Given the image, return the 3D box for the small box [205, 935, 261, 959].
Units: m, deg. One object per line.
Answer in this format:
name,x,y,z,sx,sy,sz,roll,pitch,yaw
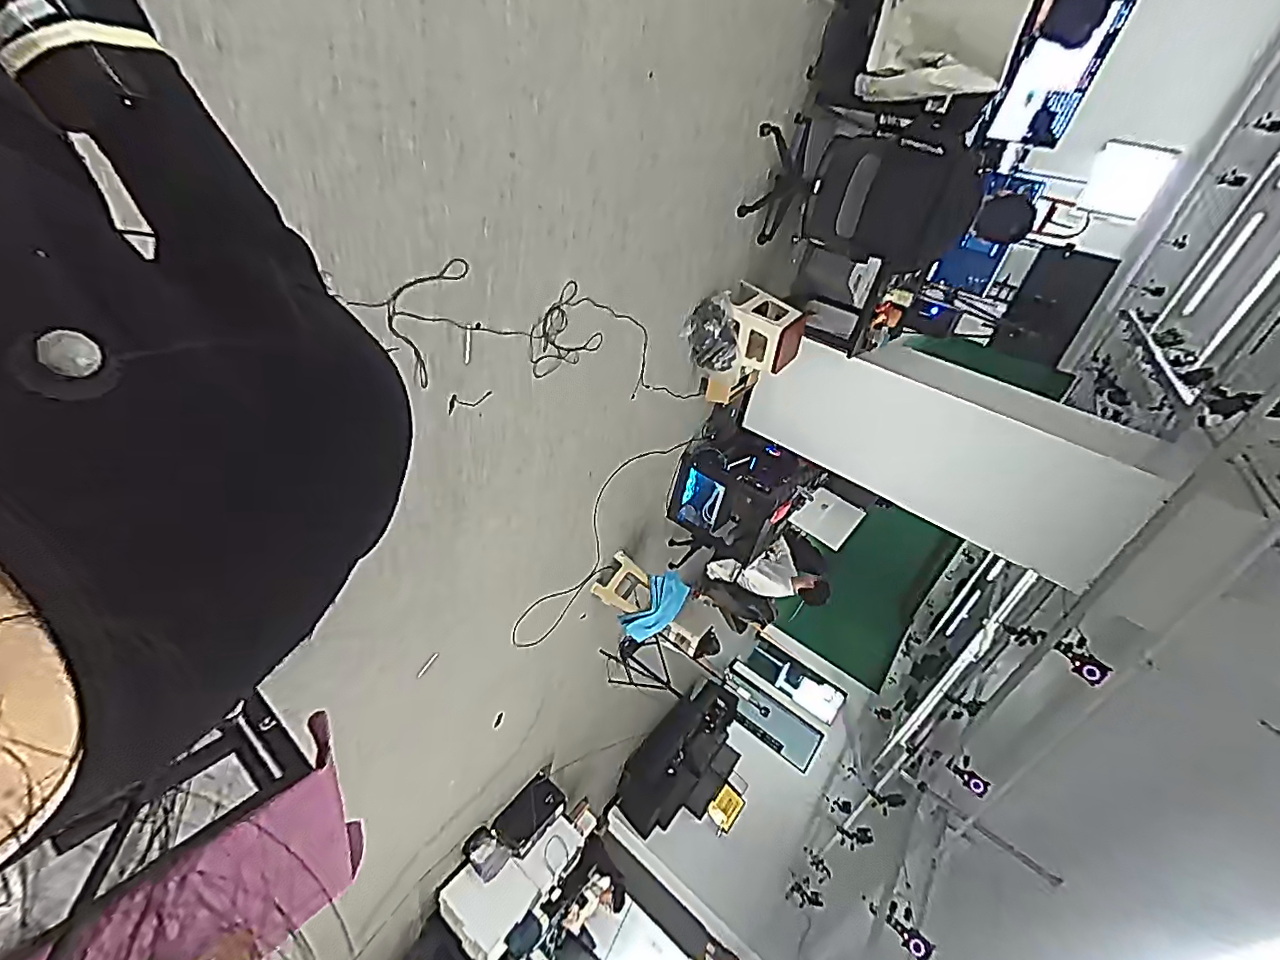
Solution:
small box,-0.918,1.167,1.187,0.168,0.176,0.179,-24,135,-52
